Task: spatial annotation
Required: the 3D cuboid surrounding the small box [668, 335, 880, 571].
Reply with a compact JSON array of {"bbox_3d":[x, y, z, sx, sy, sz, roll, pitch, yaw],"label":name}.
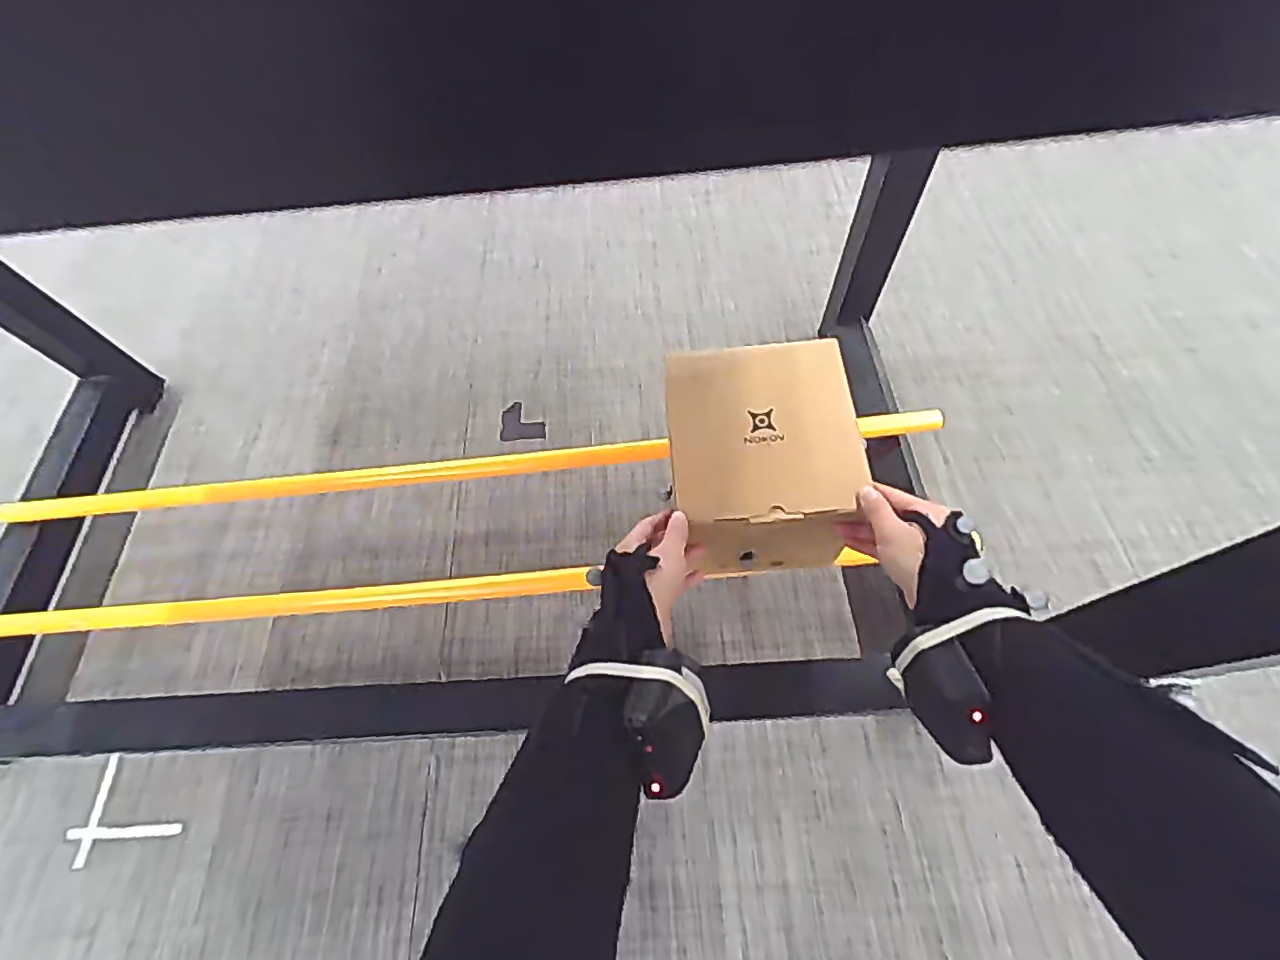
[{"bbox_3d":[0.114,-0.019,0.546,0.168,0.176,0.179,-5,66,3],"label":"small box"}]
